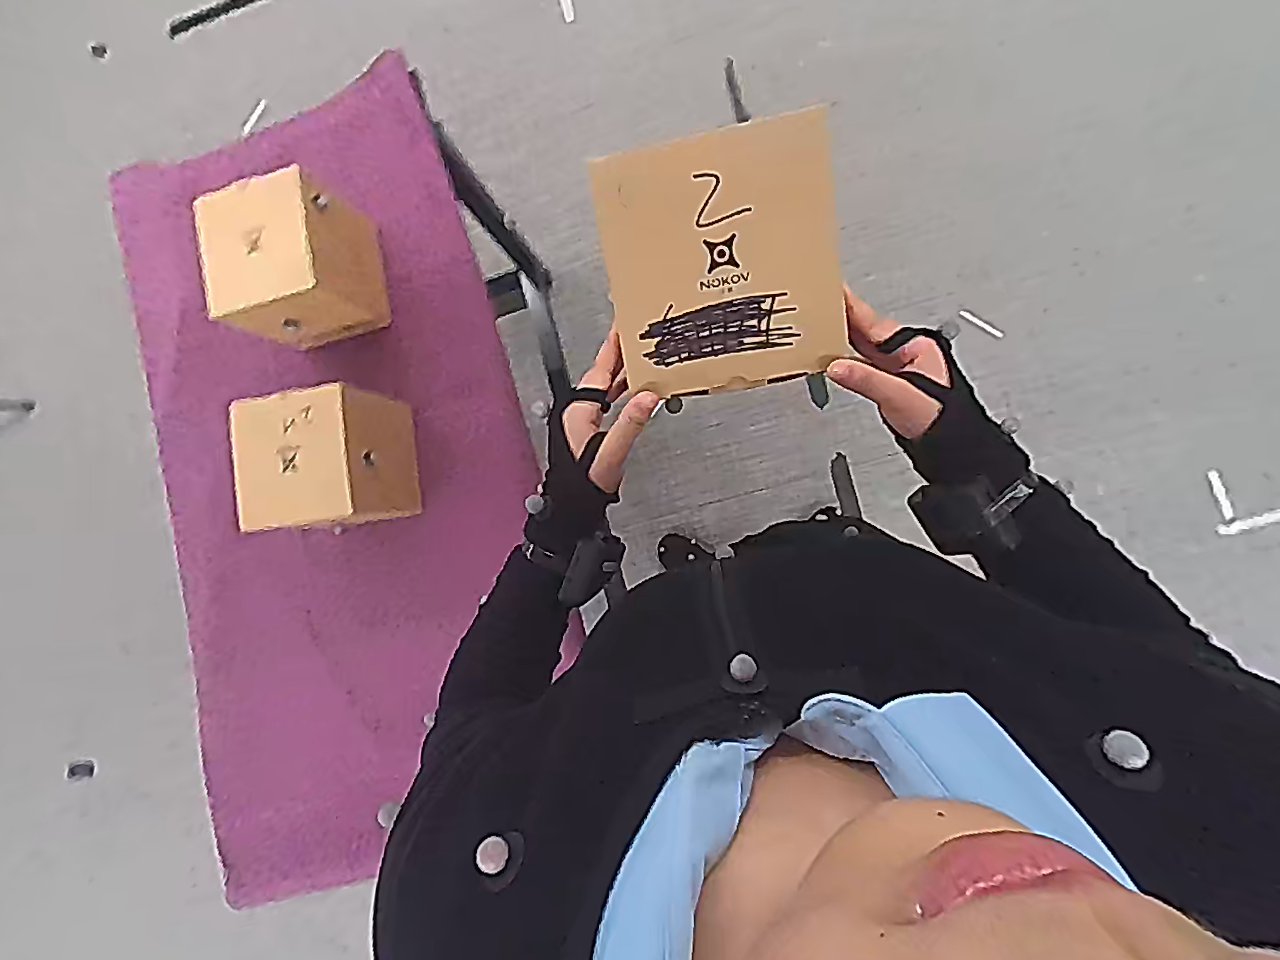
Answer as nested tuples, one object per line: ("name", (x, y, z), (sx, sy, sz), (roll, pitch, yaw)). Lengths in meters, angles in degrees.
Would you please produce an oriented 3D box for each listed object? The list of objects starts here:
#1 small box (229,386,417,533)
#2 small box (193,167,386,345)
("small box", (-0.443, -0.023, 0.780), (0.168, 0.176, 0.179), (-8, 85, 7))
("small box", (-0.508, -0.314, 0.805), (0.168, 0.176, 0.179), (-12, 85, 9))
